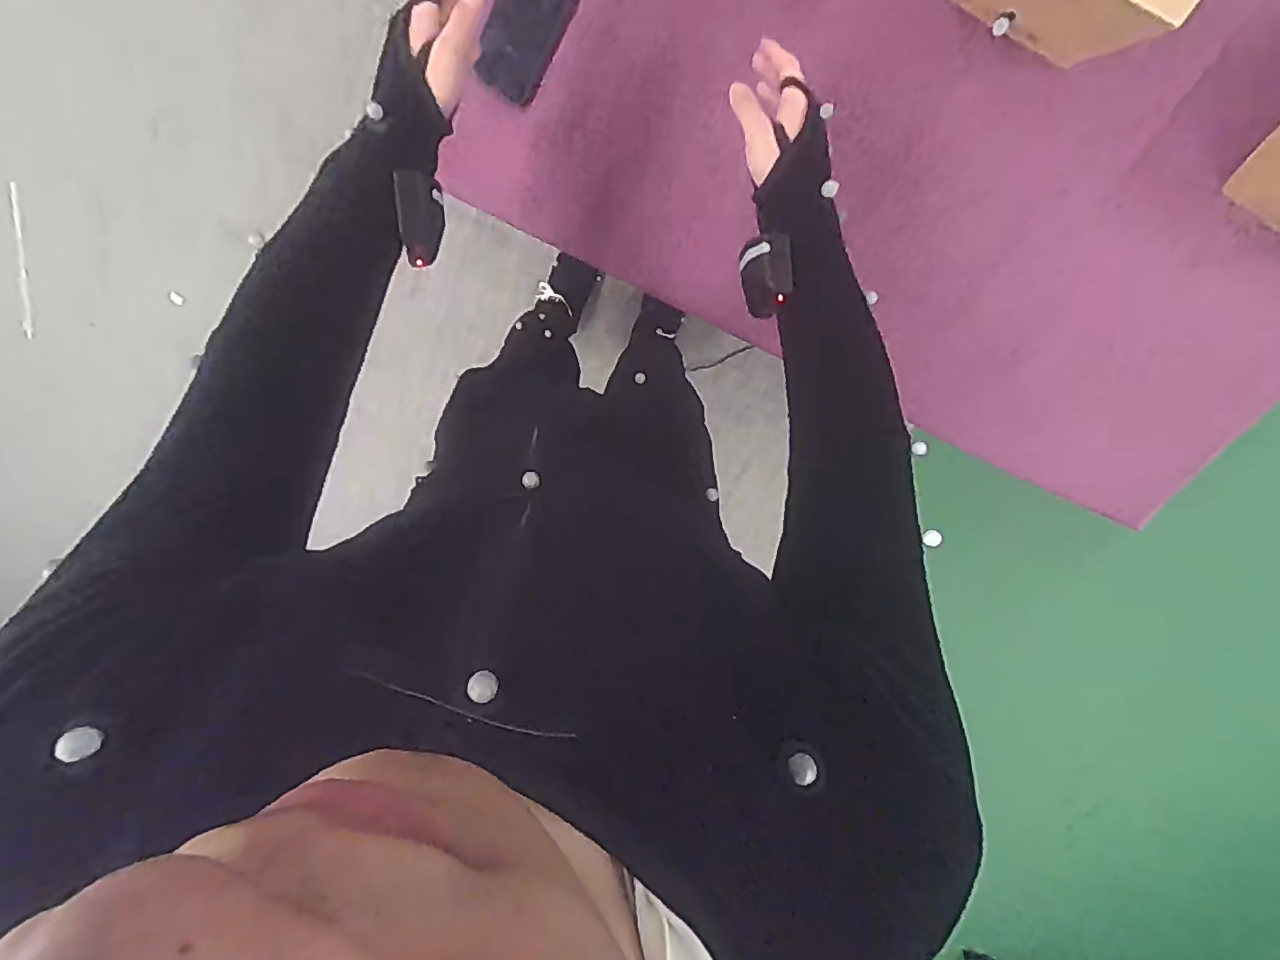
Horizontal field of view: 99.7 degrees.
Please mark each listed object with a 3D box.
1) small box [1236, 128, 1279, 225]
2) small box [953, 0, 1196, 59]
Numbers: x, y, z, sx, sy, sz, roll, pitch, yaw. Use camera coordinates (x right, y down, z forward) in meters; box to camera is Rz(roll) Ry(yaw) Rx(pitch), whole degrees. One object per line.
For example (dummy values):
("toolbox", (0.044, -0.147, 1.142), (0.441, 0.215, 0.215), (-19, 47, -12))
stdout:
("small box", (0.784, -0.338, 0.531), (0.168, 0.176, 0.179), (27, 116, -7))
("small box", (0.420, -0.521, 0.475), (0.168, 0.176, 0.179), (24, 118, -6))
